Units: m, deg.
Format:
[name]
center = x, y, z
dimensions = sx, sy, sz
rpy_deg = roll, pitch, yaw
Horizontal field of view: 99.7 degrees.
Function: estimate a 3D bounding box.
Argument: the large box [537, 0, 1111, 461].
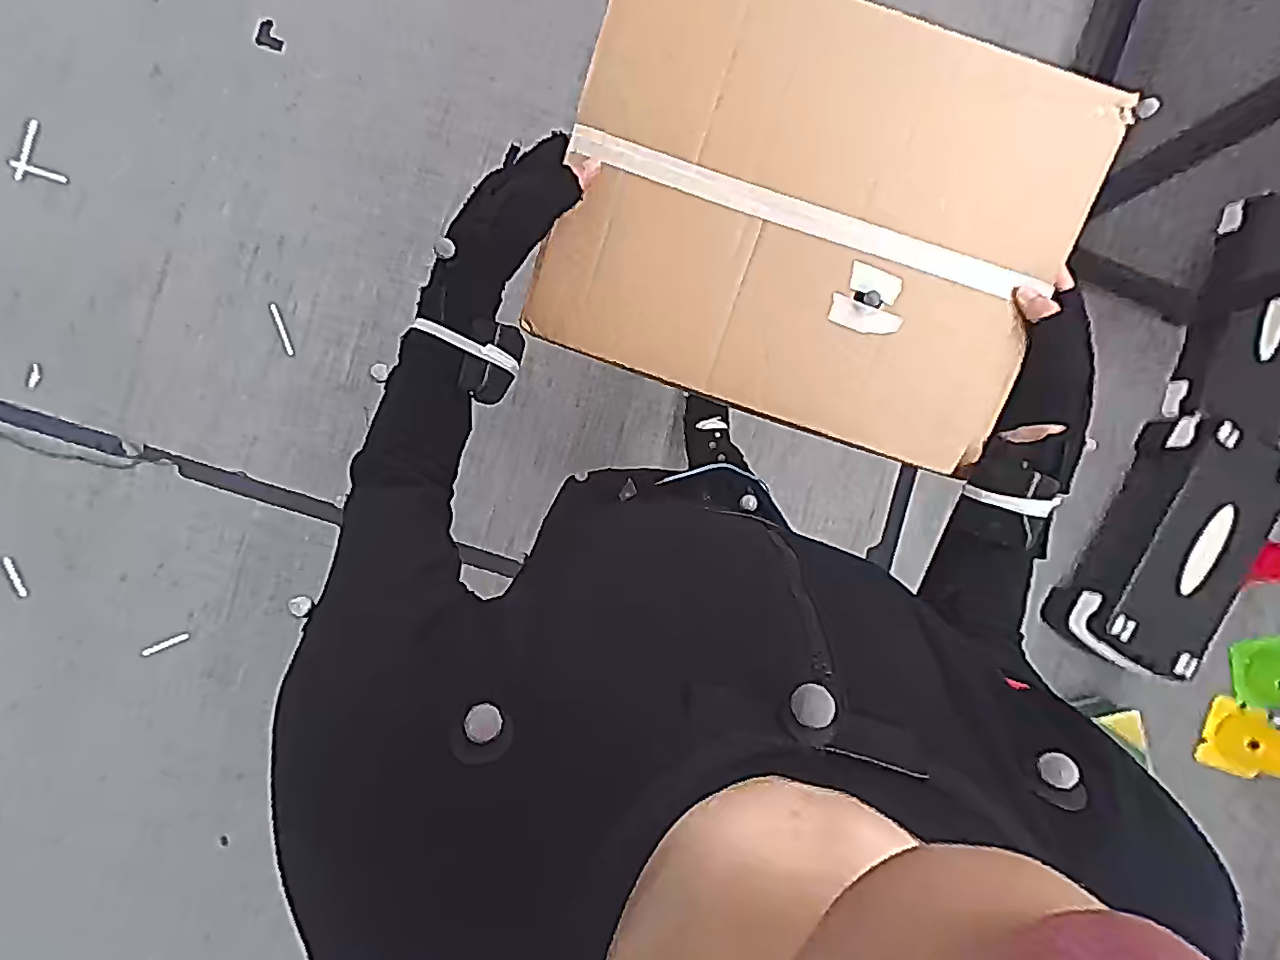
[large box]
center = 0.144, -0.242, 0.596
dimensions = 0.408, 0.320, 0.320
rpy_deg = 19, 101, -1
